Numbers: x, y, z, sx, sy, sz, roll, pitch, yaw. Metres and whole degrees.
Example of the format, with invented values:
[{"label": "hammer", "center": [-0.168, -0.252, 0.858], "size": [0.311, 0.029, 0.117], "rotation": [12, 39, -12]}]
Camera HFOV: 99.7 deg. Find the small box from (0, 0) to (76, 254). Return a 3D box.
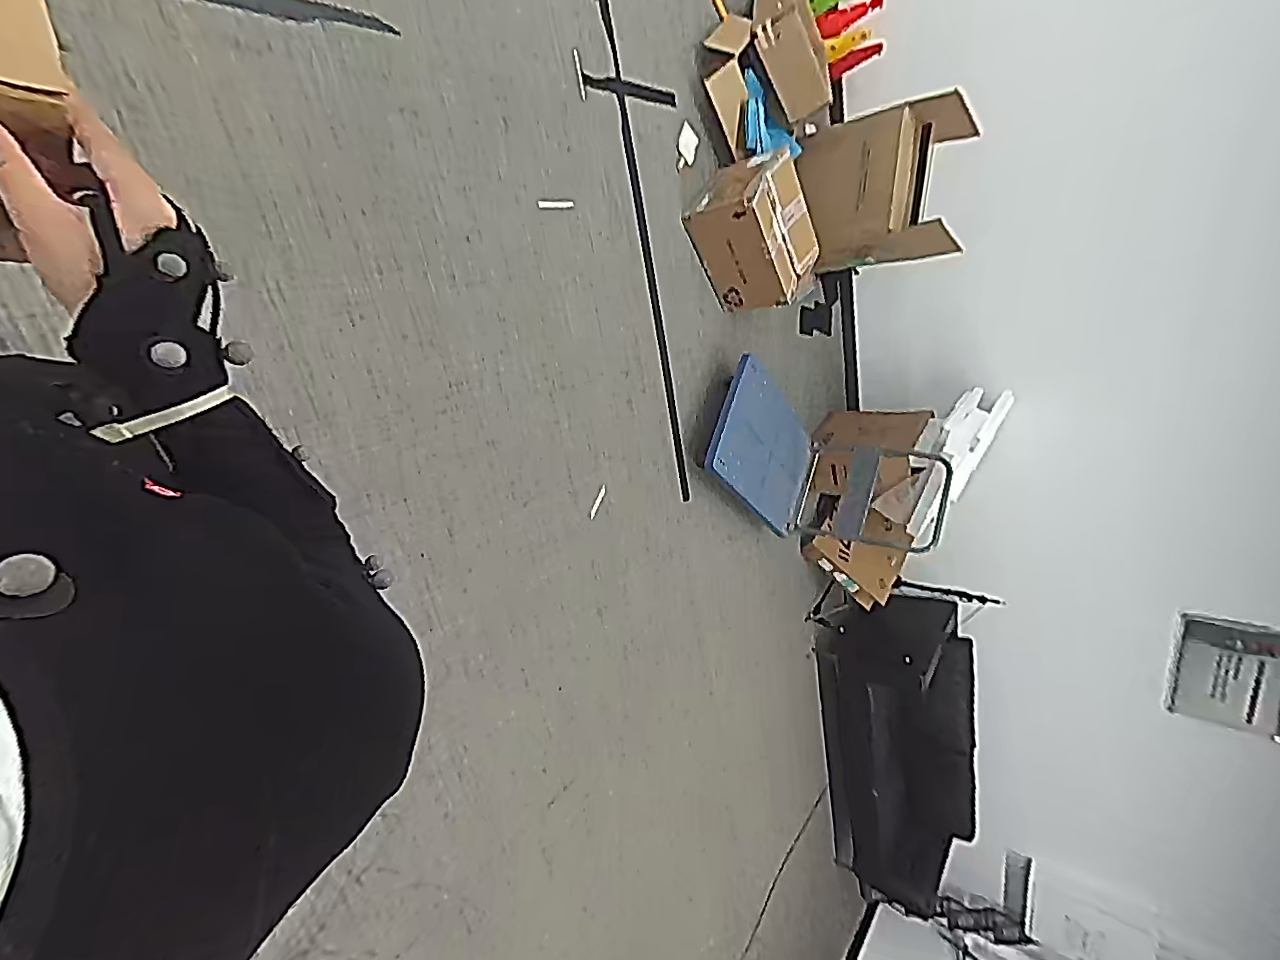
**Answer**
[{"label": "small box", "center": [-0.419, -0.240, 0.272], "size": [0.168, 0.176, 0.179], "rotation": [-16, 87, -48]}]
